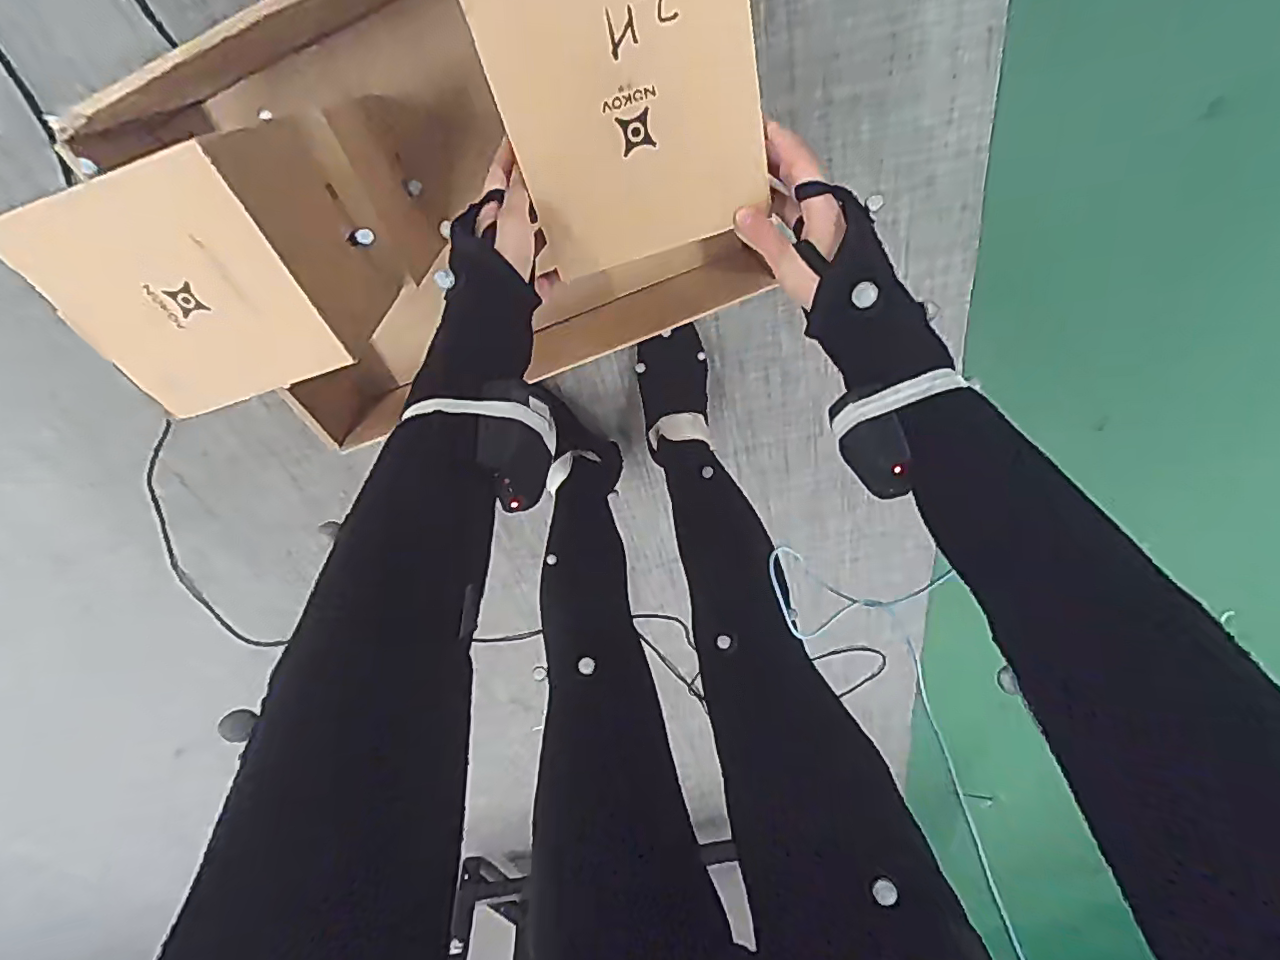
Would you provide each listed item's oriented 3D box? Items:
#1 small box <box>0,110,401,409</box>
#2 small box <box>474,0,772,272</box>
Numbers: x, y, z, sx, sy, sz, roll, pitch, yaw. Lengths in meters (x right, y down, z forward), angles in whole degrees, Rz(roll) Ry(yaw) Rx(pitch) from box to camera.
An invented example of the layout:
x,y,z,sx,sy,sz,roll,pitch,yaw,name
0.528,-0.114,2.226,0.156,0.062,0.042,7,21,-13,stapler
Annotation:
x,y,z,sx,sy,sz,roll,pitch,yaw,name
-0.338,-0.190,0.458,0.179,0.176,0.168,-16,129,5,small box
-0.007,-0.289,0.415,0.168,0.176,0.179,-15,126,4,small box
